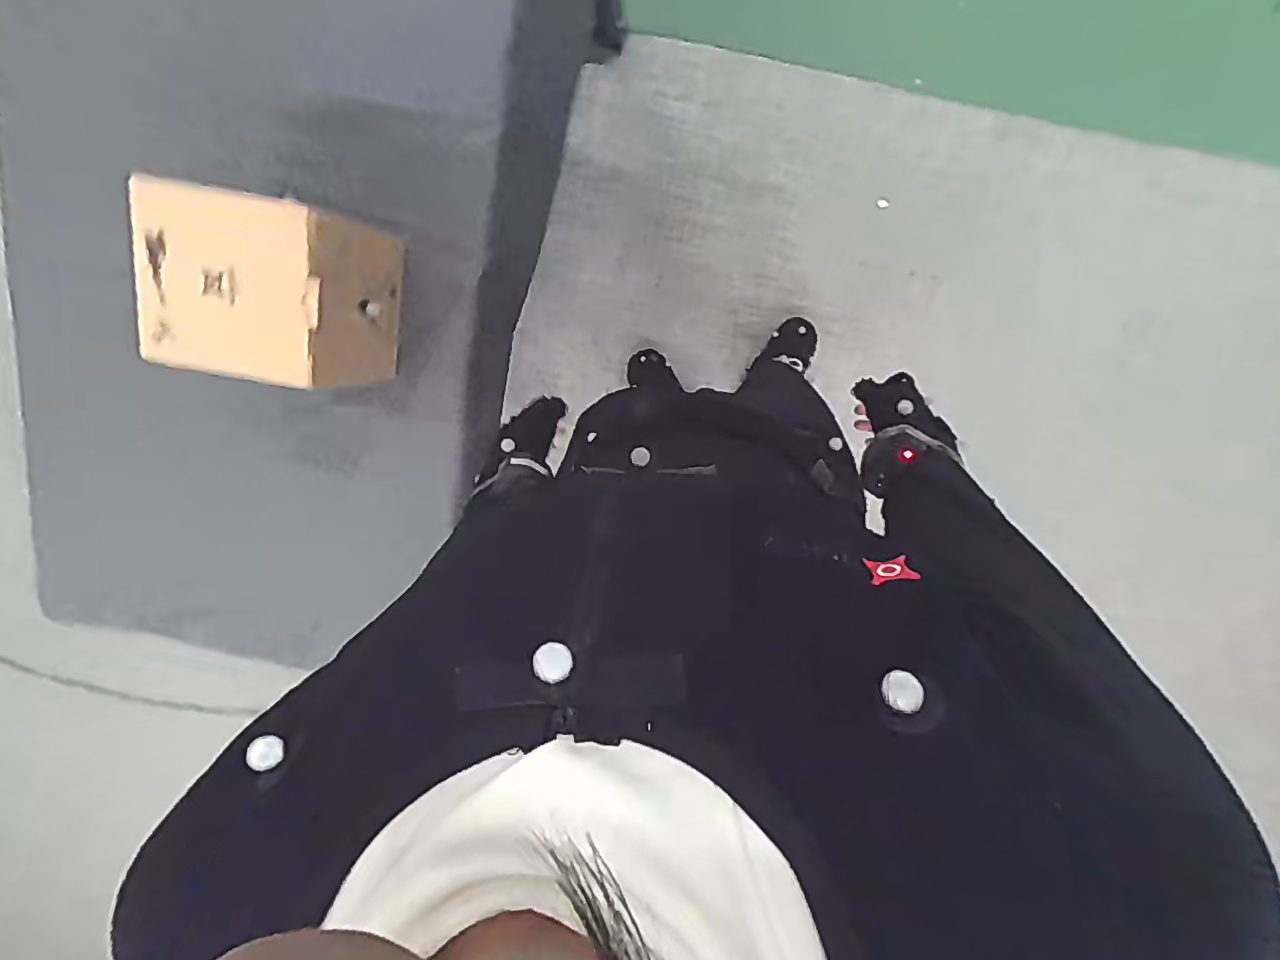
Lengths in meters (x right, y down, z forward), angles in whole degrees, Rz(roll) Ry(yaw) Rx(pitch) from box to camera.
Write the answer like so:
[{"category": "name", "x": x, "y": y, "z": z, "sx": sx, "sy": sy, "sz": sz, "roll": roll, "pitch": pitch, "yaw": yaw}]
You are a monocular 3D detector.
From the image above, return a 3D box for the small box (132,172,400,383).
[{"category": "small box", "x": -0.385, "y": -0.211, "z": 0.589, "sx": 0.179, "sy": 0.176, "sz": 0.168, "roll": 11, "pitch": 107, "yaw": 1}]
